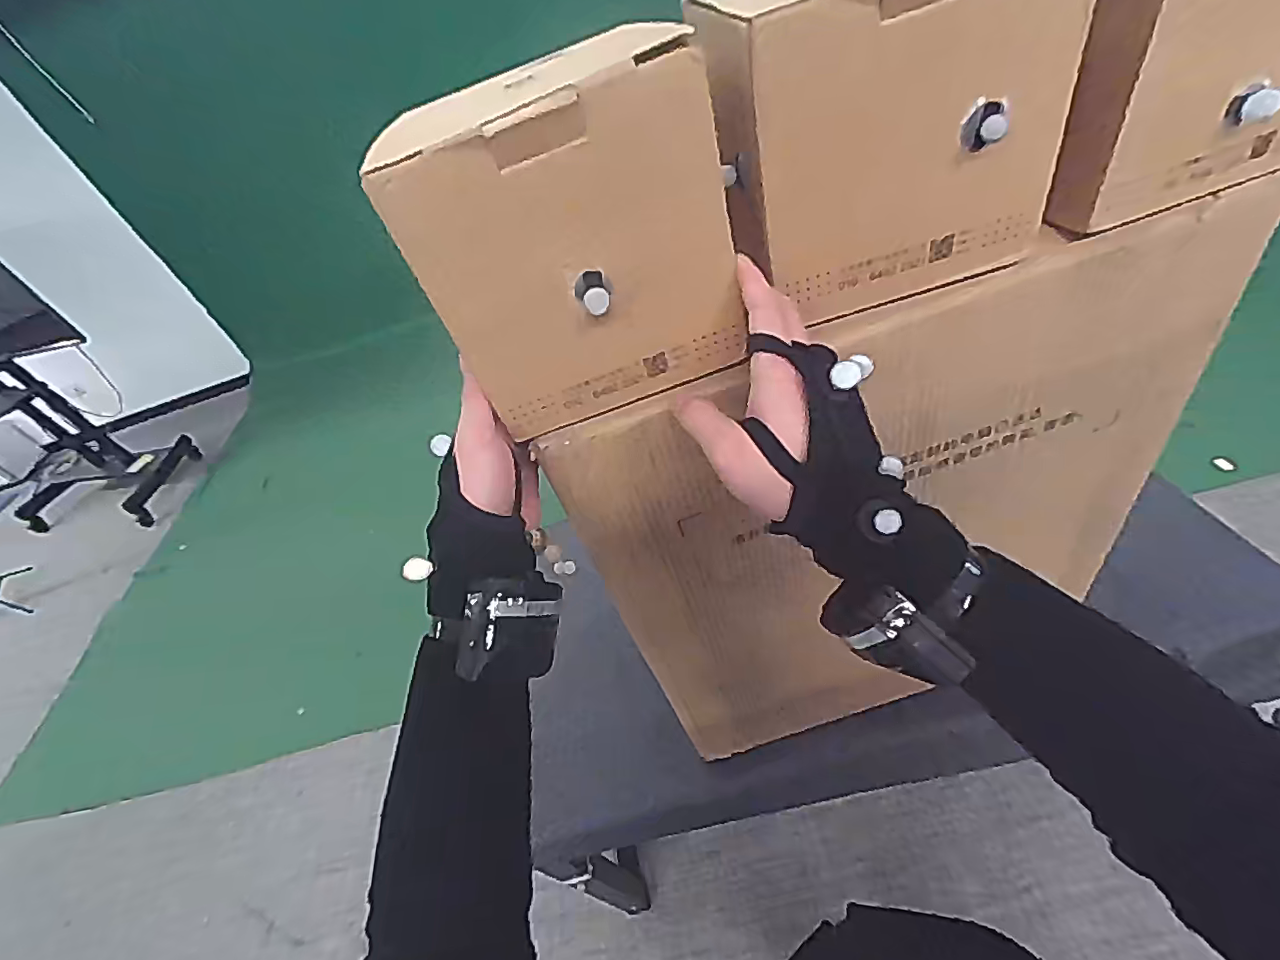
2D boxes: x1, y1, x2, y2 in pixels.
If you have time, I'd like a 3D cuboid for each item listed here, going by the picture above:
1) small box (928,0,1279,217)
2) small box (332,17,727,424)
[{"bbox_3d":[0.306,-0.289,0.331,0.168,0.176,0.179,-20,45,2],"label":"small box"},{"bbox_3d":[-0.055,-0.157,0.348,0.168,0.176,0.179,-20,44,3],"label":"small box"}]
